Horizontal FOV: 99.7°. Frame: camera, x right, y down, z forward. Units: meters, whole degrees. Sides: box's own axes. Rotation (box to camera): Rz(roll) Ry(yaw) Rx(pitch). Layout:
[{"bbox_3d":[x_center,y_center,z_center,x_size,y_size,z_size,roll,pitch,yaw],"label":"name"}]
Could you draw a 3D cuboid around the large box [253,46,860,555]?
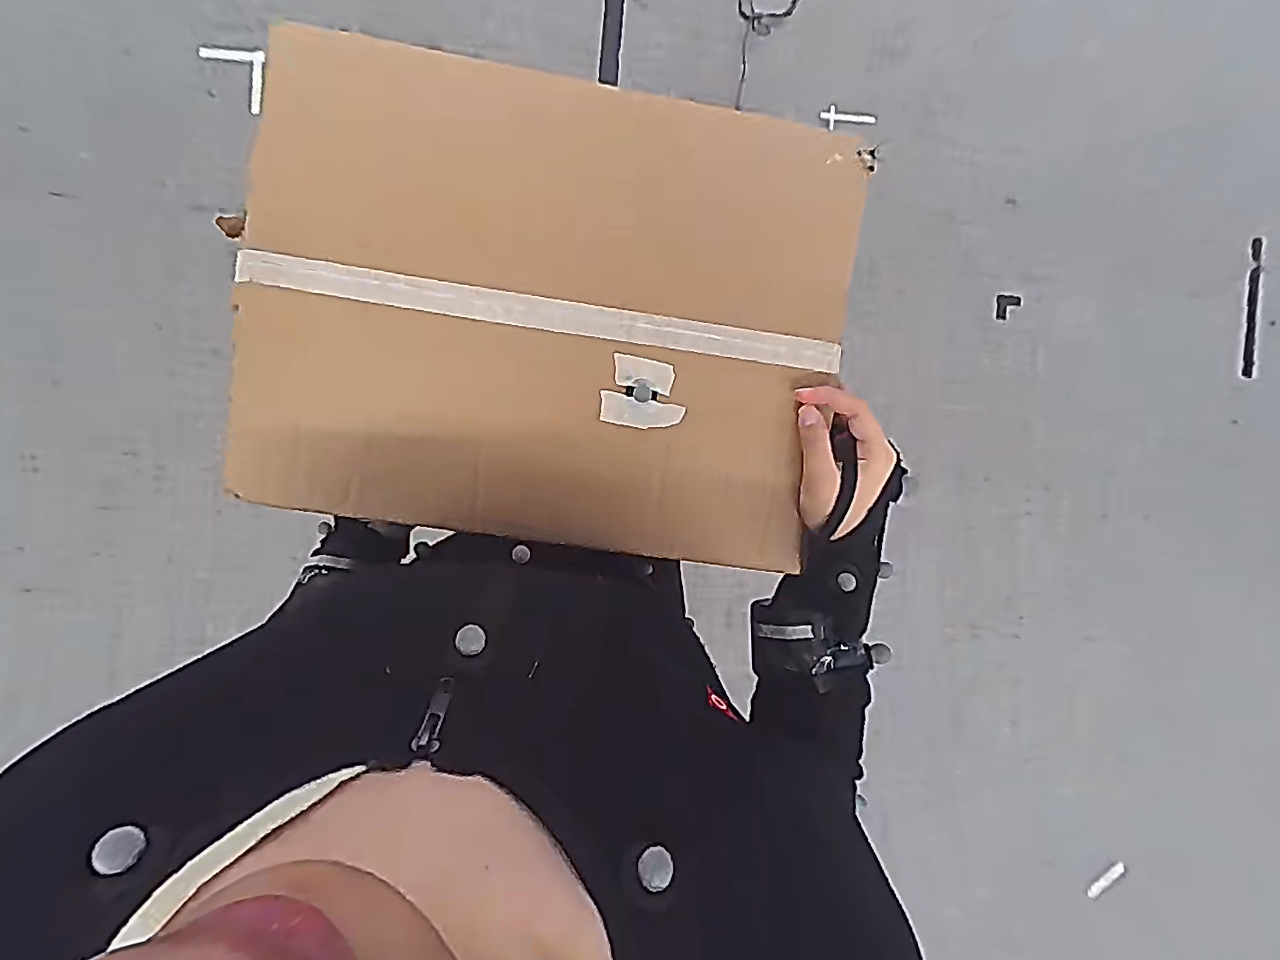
[{"bbox_3d":[-0.067,-0.124,0.529,0.408,0.320,0.320,7,94,-5],"label":"large box"}]
